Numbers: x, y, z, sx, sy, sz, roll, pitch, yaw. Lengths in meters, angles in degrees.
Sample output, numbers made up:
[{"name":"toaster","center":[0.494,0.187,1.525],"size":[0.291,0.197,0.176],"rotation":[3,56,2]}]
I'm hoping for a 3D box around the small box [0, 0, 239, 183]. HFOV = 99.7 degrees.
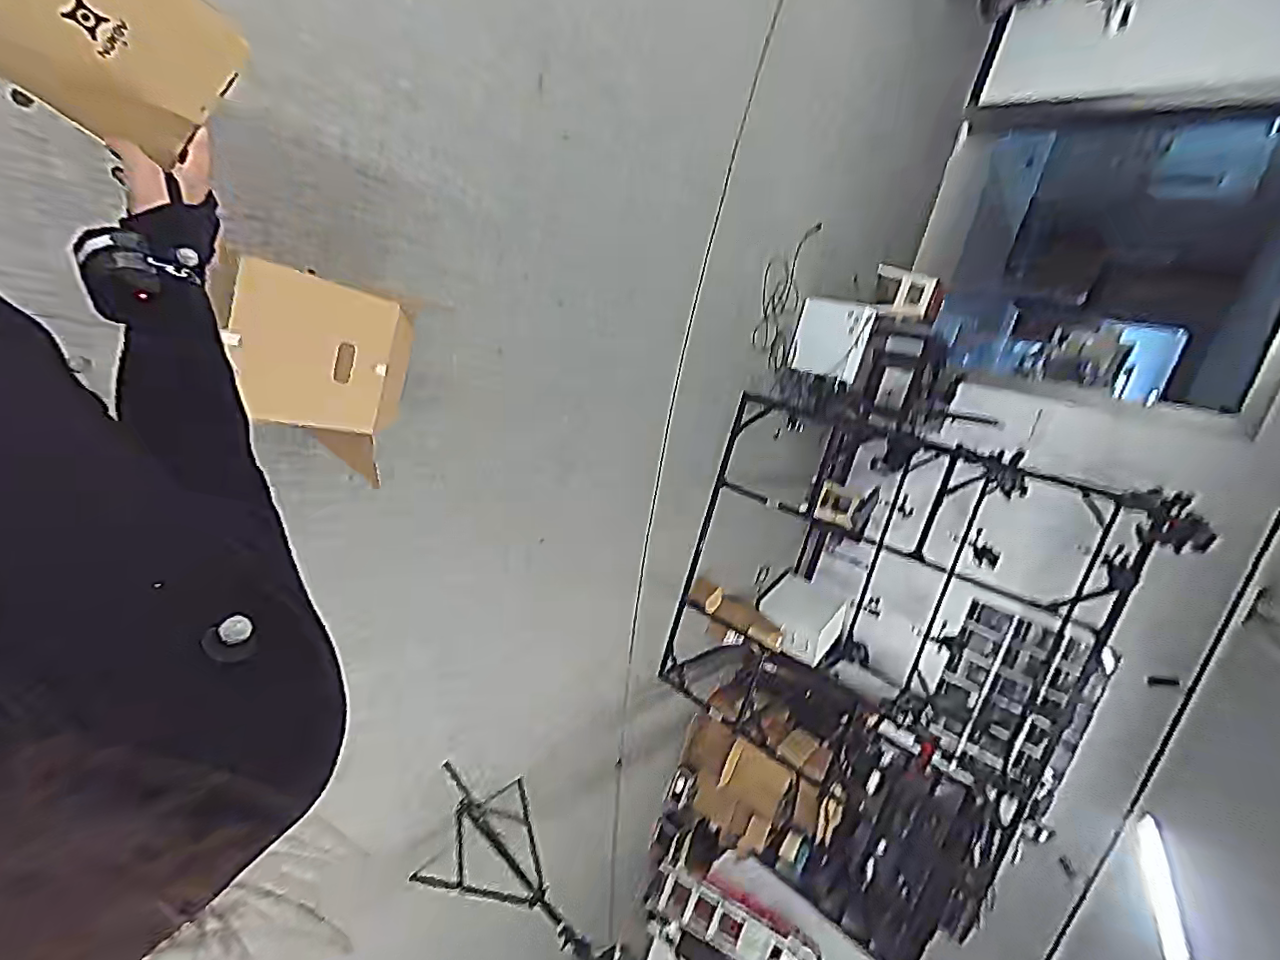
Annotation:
[{"name":"small box","center":[-0.540,-0.429,0.510],"size":[0.168,0.176,0.179],"rotation":[-55,150,1]}]
